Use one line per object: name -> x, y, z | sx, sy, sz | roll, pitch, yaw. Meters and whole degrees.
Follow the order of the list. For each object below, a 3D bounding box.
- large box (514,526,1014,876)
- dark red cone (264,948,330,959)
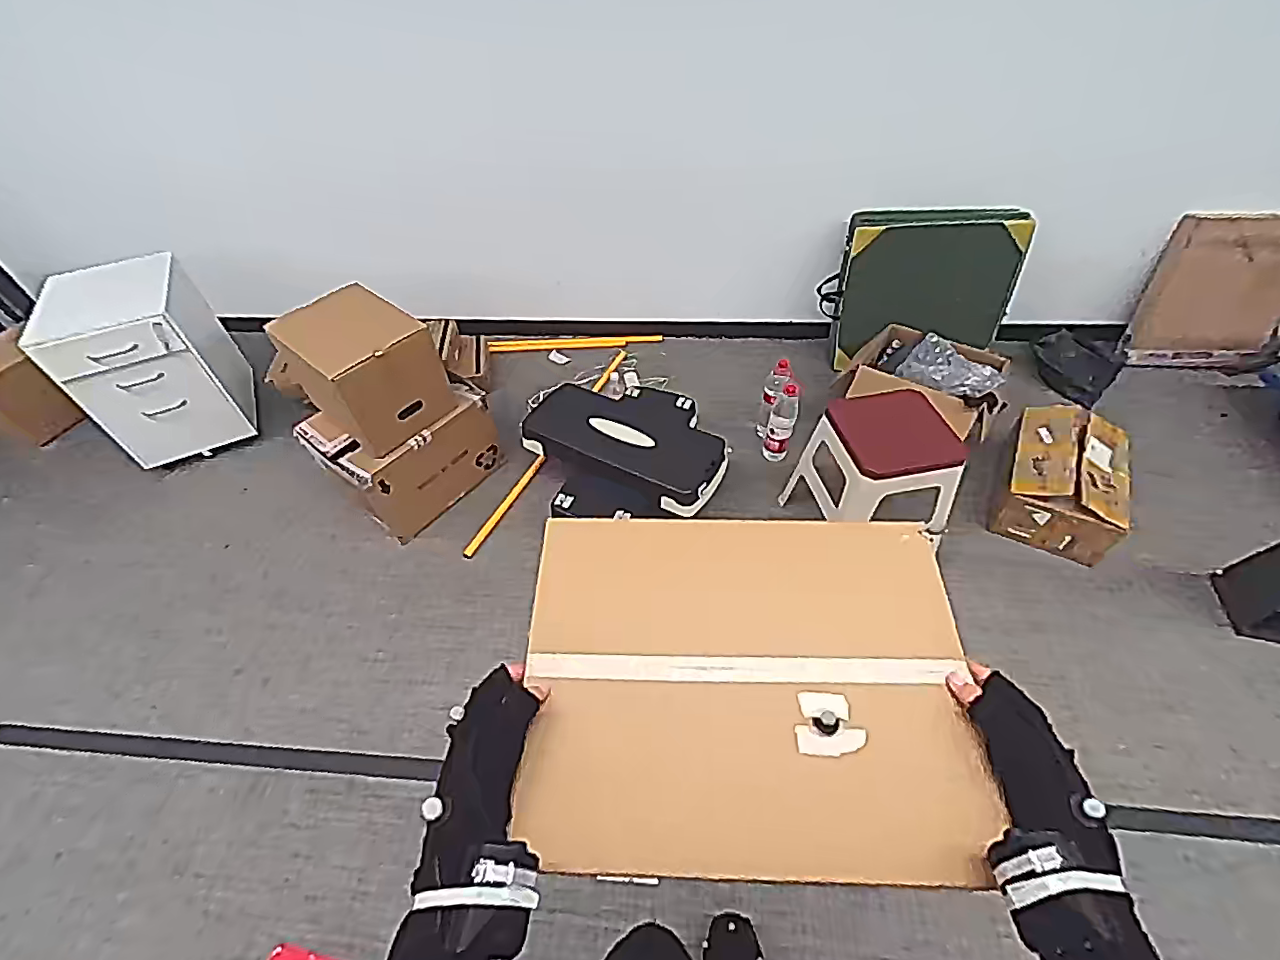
large box -> 0.099, 0.261, 0.630 | 0.408, 0.320, 0.320 | 0, 57, 2
dark red cone -> -0.687, 0.935, 0.916 | 0.201, 0.394, 0.202 | 7, 49, 8
